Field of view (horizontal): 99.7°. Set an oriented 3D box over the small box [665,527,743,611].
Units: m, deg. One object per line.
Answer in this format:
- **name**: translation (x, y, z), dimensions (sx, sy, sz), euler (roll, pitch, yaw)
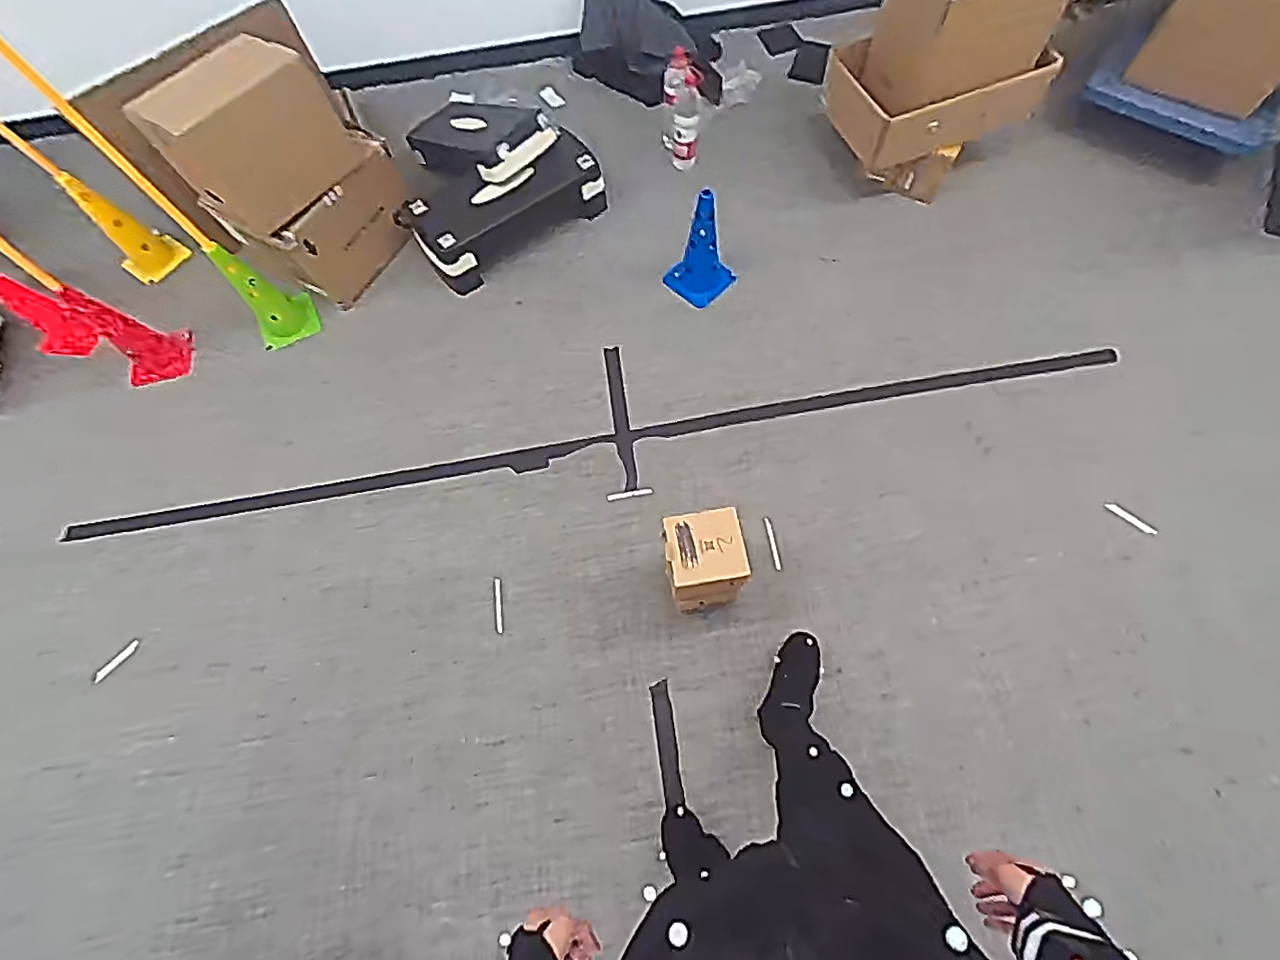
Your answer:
- **small box**: translation (0.168, 0.246, 1.452), dimensions (0.168, 0.176, 0.179), euler (-13, 68, -2)
